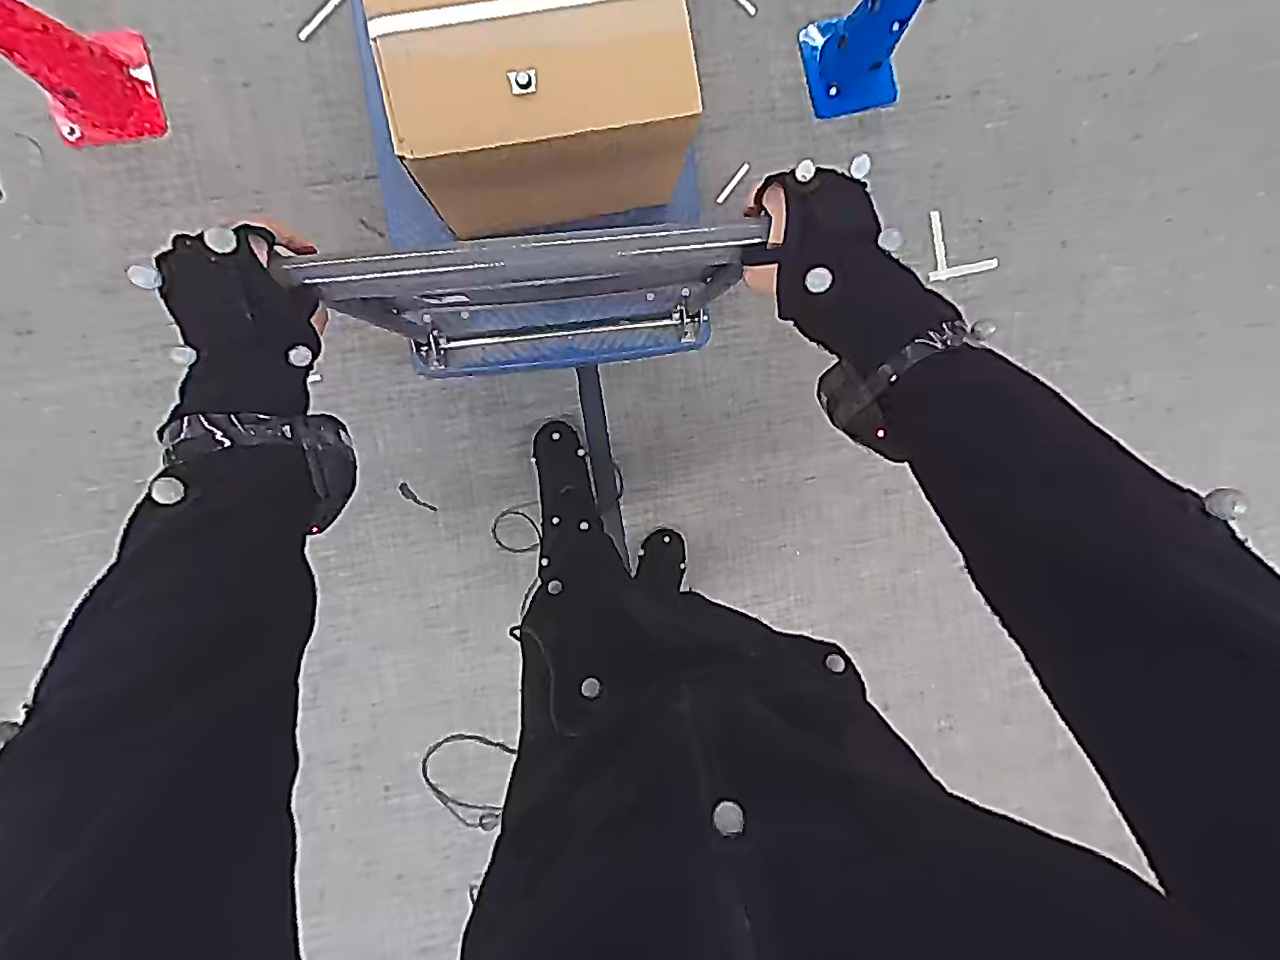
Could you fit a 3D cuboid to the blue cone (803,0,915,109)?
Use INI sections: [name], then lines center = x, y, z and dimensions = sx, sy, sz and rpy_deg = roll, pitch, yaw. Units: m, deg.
[blue cone]
center = 0.481, -0.918, 1.035
dimensions = 0.193, 0.380, 0.192
rpy_deg = -14, 95, -4
